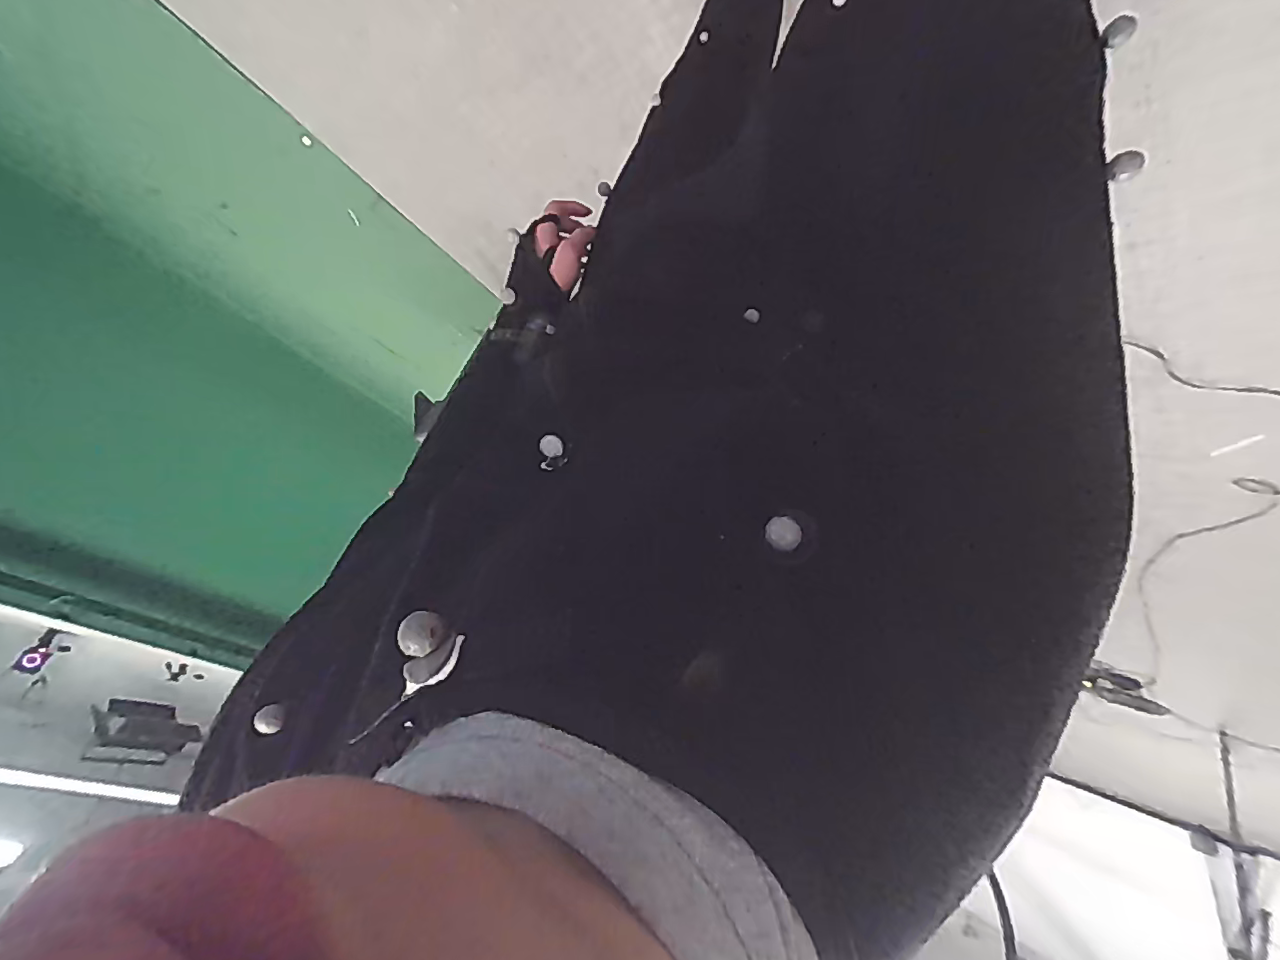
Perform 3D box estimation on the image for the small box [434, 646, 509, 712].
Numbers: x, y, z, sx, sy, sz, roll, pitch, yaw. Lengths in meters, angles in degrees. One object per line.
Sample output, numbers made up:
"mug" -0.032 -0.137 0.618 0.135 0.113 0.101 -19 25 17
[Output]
"small box" -0.619 0.735 2.003 0.168 0.176 0.179 -1 149 45
